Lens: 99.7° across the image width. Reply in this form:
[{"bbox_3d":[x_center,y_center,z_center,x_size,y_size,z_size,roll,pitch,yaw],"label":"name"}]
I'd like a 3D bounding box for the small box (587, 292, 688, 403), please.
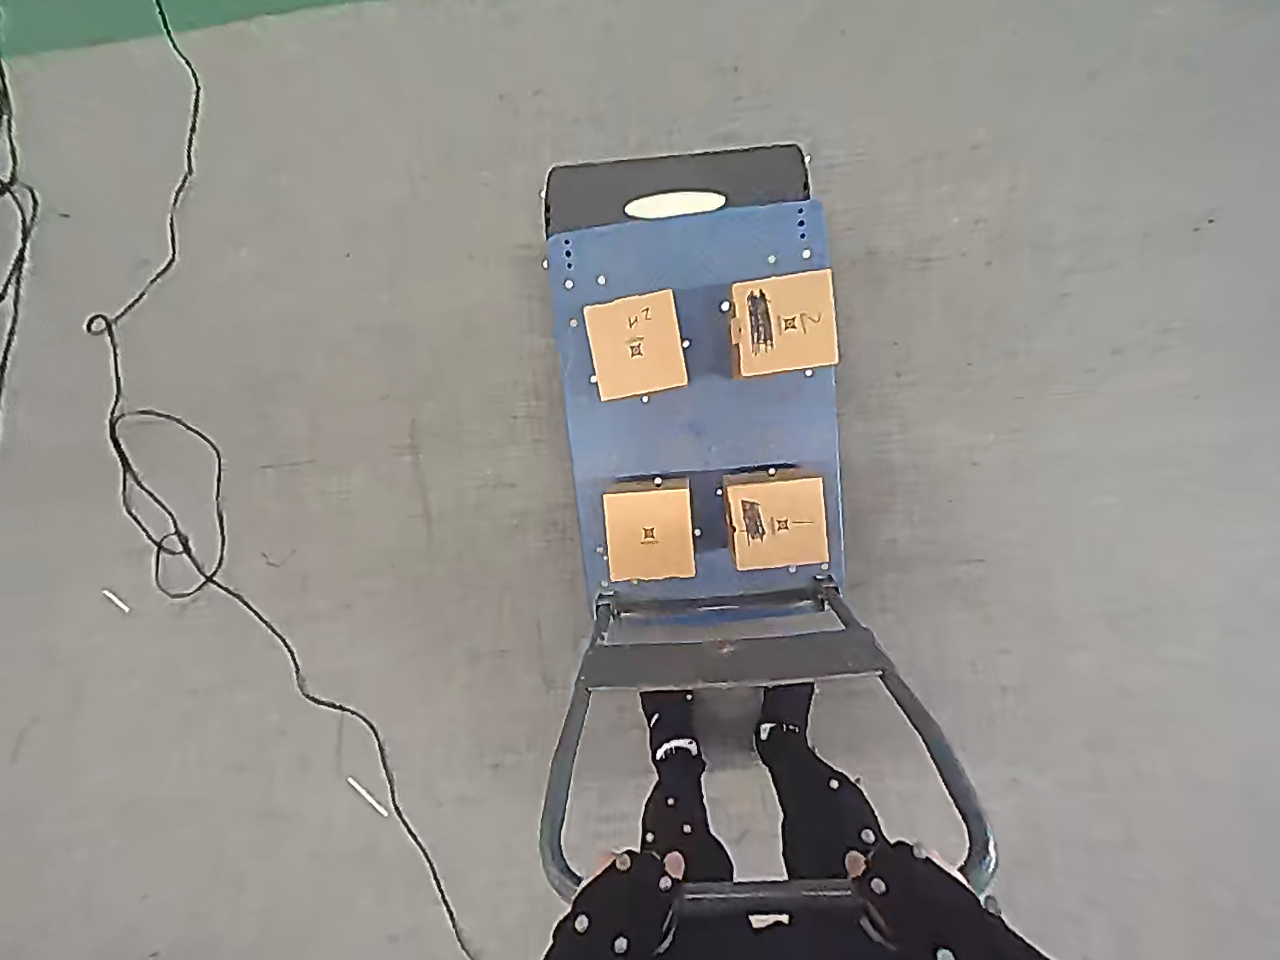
[{"bbox_3d":[0.003,-0.252,1.060,0.168,0.176,0.179,-9,97,5],"label":"small box"}]

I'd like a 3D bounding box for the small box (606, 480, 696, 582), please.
[{"bbox_3d":[0.024,0.097,1.110,0.168,0.176,0.179,-4,99,4],"label":"small box"}]
